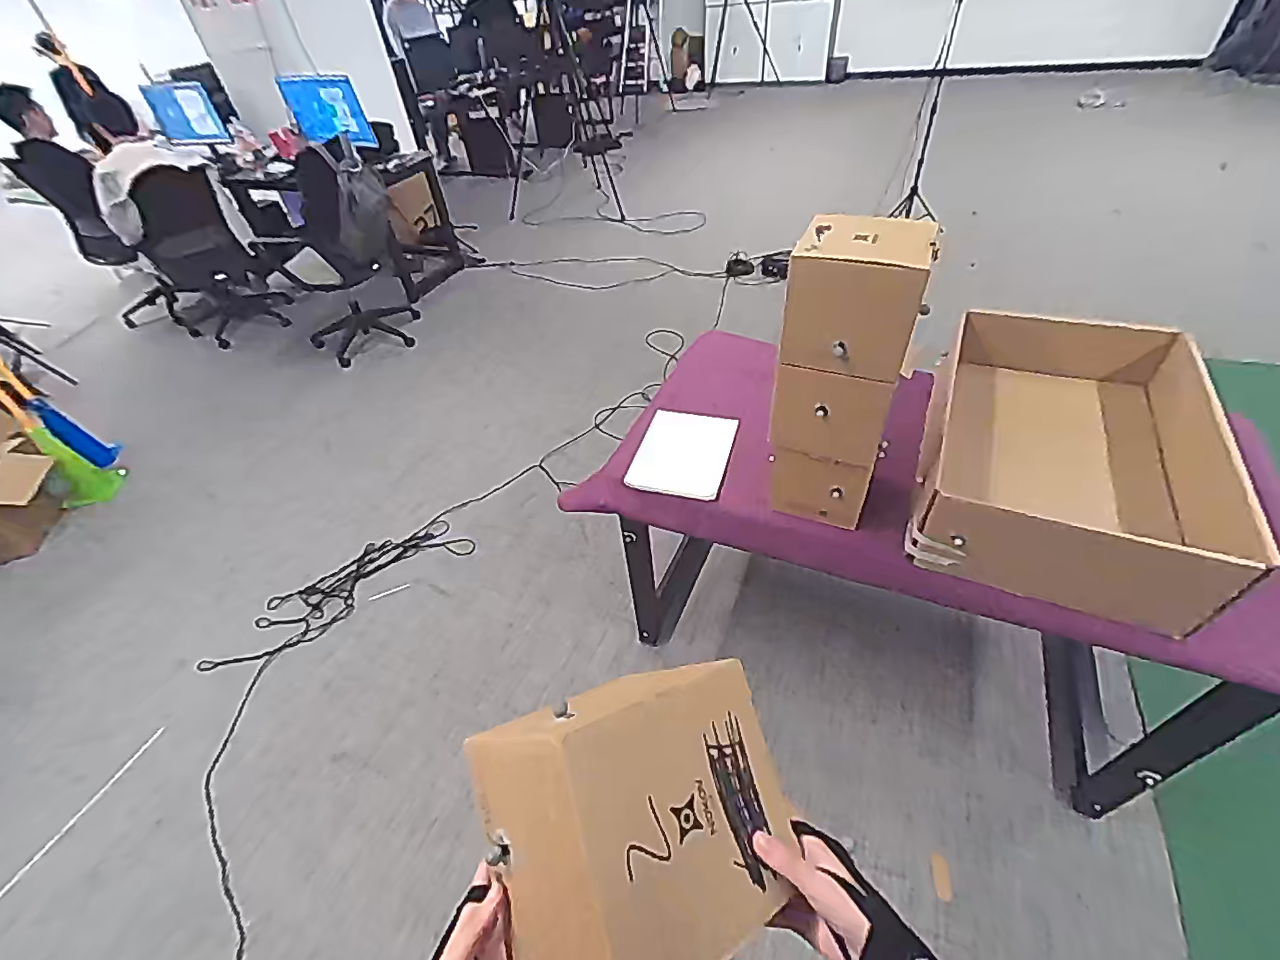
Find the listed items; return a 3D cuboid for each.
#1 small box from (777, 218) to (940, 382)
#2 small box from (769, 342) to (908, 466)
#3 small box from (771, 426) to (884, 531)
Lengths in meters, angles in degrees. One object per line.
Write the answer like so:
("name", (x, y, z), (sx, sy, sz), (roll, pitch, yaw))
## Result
("small box", (0.316, -0.264, 0.798), (0.179, 0.176, 0.168), (16, 46, 21))
("small box", (0.329, -0.145, 0.911), (0.179, 0.176, 0.168), (15, 46, 22))
("small box", (0.352, -0.031, 1.027), (0.168, 0.176, 0.179), (16, 46, 21))
